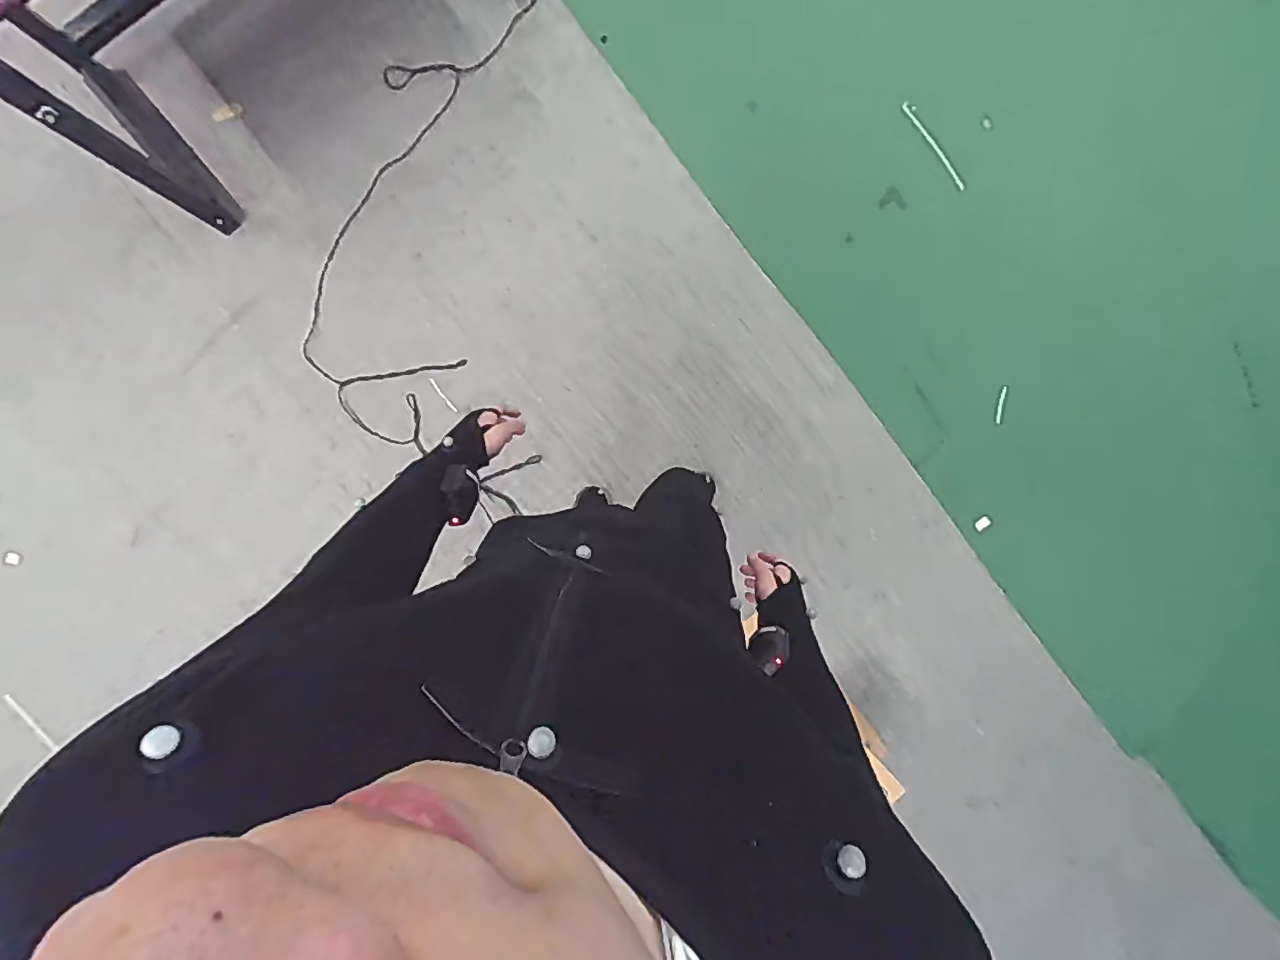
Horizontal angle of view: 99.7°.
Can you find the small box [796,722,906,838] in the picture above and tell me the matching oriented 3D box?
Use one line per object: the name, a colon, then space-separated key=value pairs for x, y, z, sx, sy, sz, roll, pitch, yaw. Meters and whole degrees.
small box: x=0.538 y=0.765 z=1.407 sx=0.168 sy=0.176 sz=0.179 roll=-43 pitch=93 yaw=0
